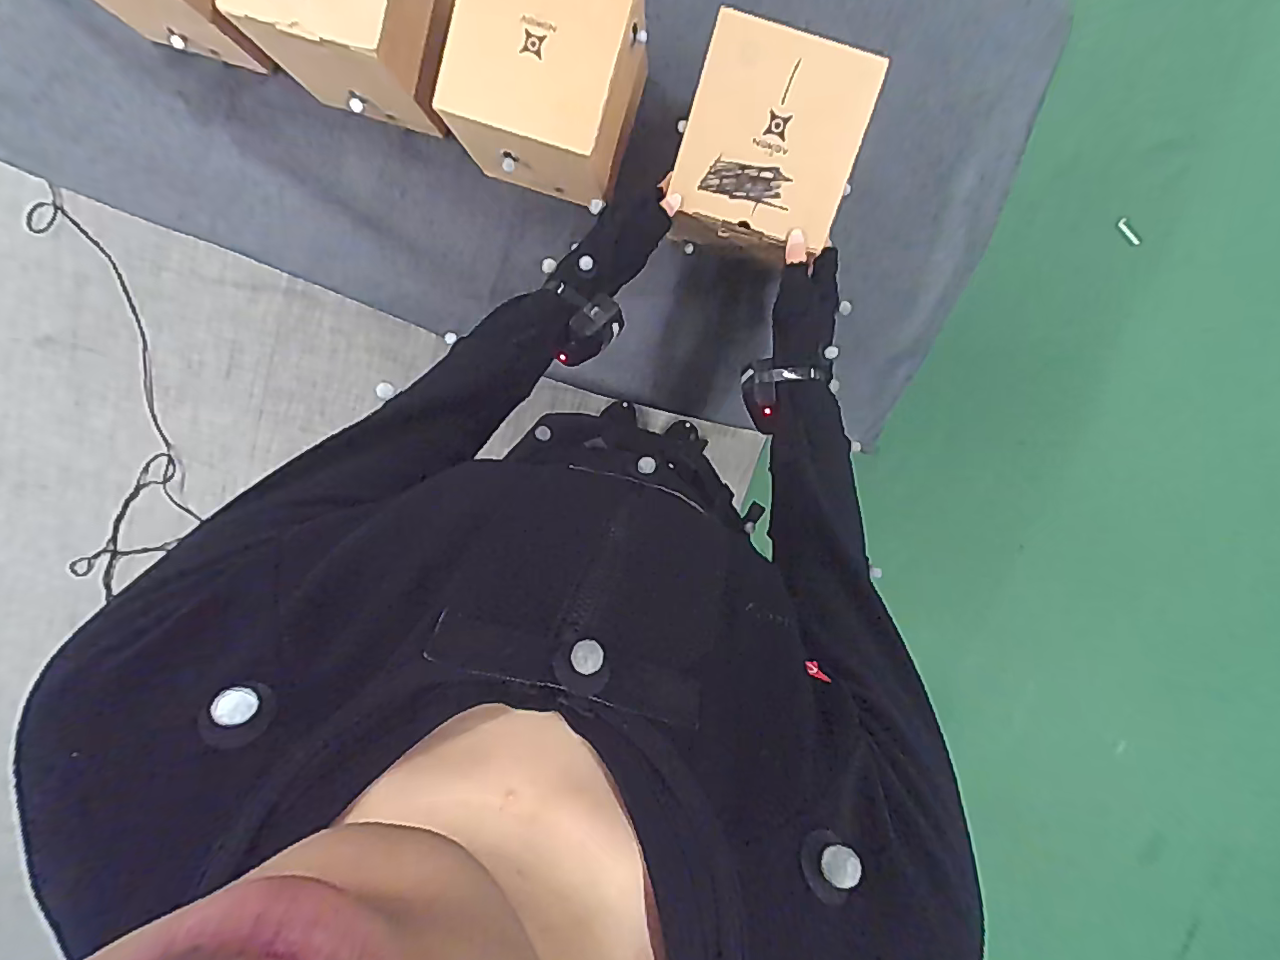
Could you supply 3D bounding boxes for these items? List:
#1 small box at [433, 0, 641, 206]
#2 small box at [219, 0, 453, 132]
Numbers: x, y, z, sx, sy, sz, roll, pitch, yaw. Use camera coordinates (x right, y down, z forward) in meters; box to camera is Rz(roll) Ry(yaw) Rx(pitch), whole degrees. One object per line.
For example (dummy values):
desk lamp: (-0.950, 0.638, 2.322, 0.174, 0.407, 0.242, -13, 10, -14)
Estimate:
small box: (-0.099, -0.434, 0.595, 0.168, 0.176, 0.179, 17, 98, -1)
small box: (-0.303, -0.526, 0.586, 0.168, 0.176, 0.179, 16, 99, -1)
